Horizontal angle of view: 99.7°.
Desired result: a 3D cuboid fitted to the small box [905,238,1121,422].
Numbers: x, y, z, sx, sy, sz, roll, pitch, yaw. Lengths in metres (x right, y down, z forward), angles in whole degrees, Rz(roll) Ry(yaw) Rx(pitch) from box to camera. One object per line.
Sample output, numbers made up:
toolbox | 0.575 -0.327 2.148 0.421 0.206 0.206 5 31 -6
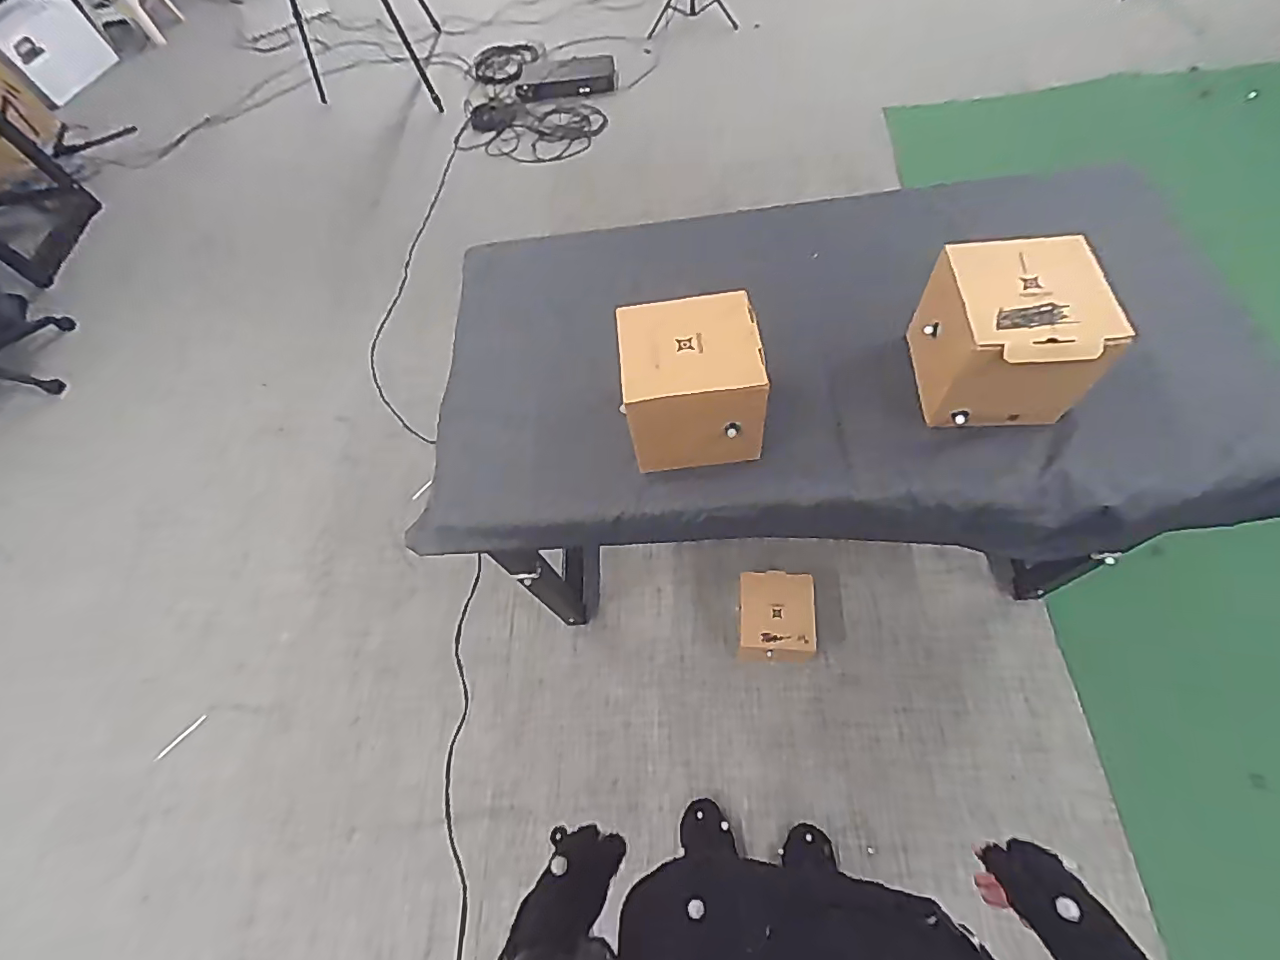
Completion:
small box | 0.473 -0.190 0.721 0.168 0.176 0.179 0 62 8

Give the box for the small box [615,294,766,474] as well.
small box | 0.068 -0.126 0.751 0.179 0.176 0.168 -8 59 5
